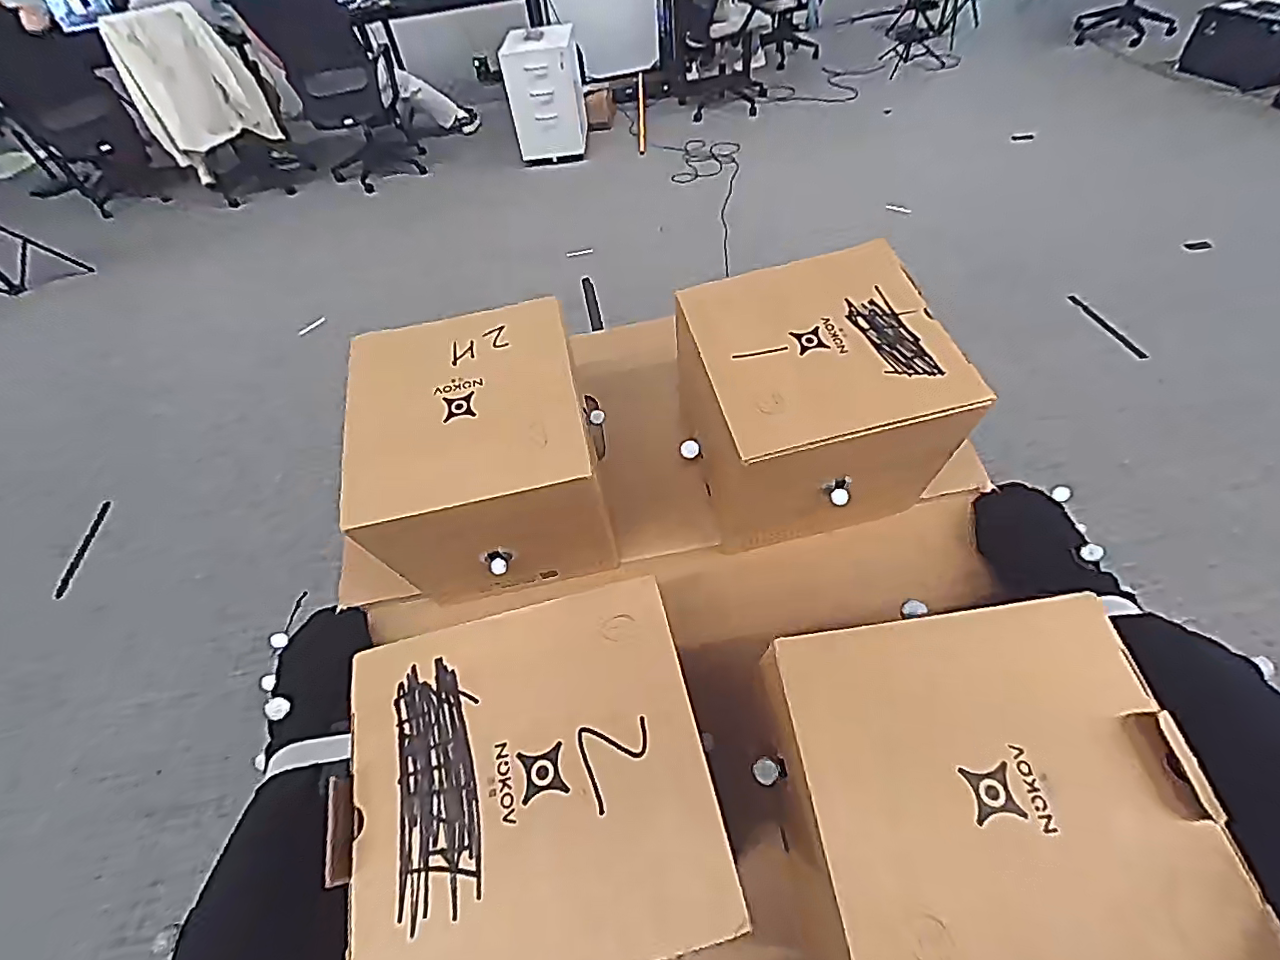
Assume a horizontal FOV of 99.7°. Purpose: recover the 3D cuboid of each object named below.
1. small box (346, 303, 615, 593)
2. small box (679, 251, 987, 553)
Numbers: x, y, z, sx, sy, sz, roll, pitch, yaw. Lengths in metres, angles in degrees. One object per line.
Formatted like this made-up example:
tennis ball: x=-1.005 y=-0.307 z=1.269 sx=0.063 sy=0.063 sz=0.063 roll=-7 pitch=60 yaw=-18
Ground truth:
small box: x=-0.121 y=-0.015 z=0.461 sx=0.168 sy=0.176 sz=0.179 roll=-12 pitch=60 yaw=-2
small box: x=0.136 y=-0.056 z=0.460 sx=0.179 sy=0.176 sz=0.168 roll=-14 pitch=60 yaw=-1
